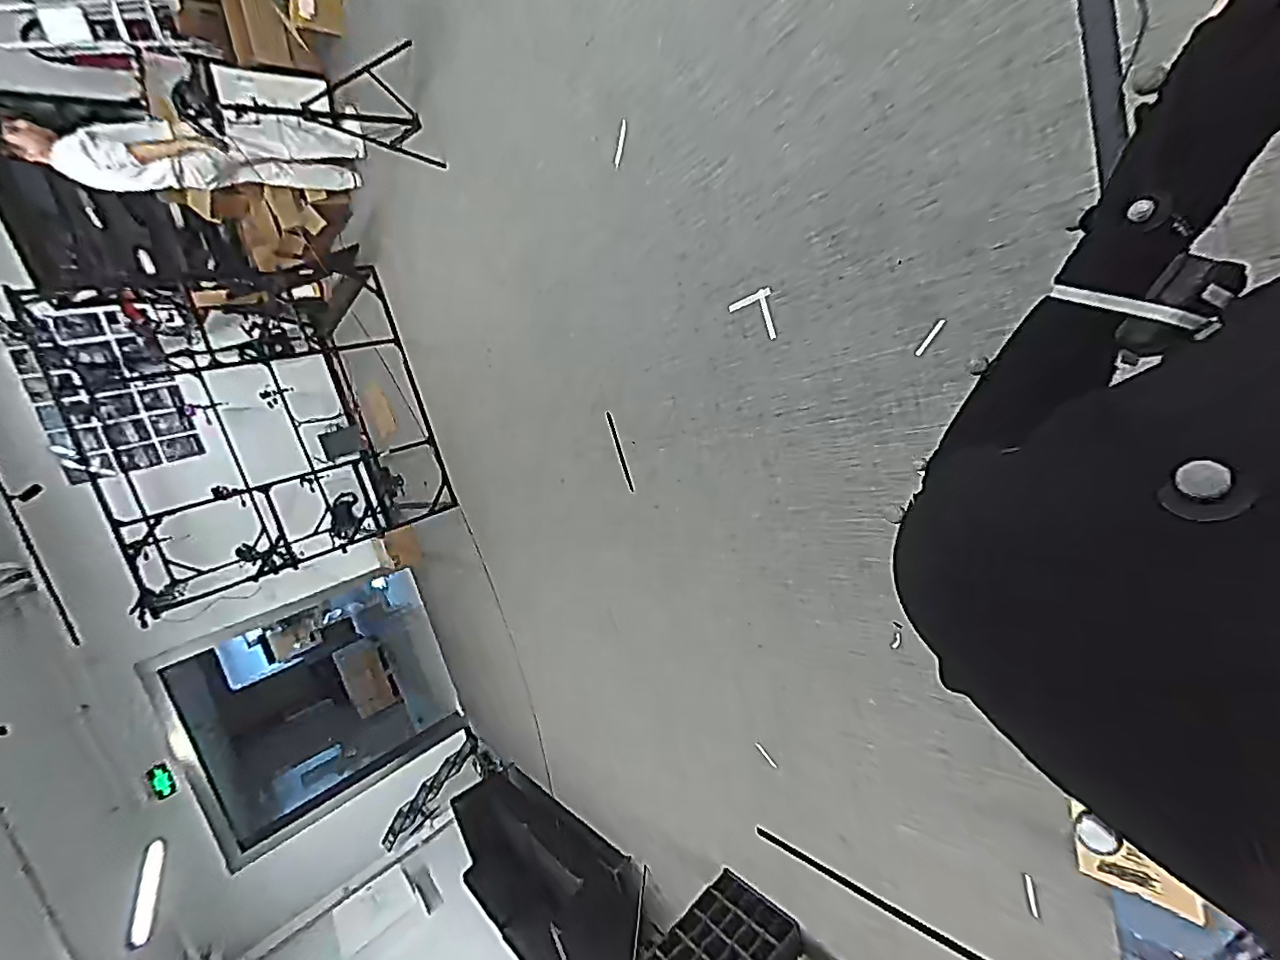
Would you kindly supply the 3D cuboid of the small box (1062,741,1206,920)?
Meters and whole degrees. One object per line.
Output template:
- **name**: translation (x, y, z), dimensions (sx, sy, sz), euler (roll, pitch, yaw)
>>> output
- **small box**: translation (0.900, 0.621, 0.984), dimensions (0.168, 0.176, 0.179), euler (-1, 107, 52)
